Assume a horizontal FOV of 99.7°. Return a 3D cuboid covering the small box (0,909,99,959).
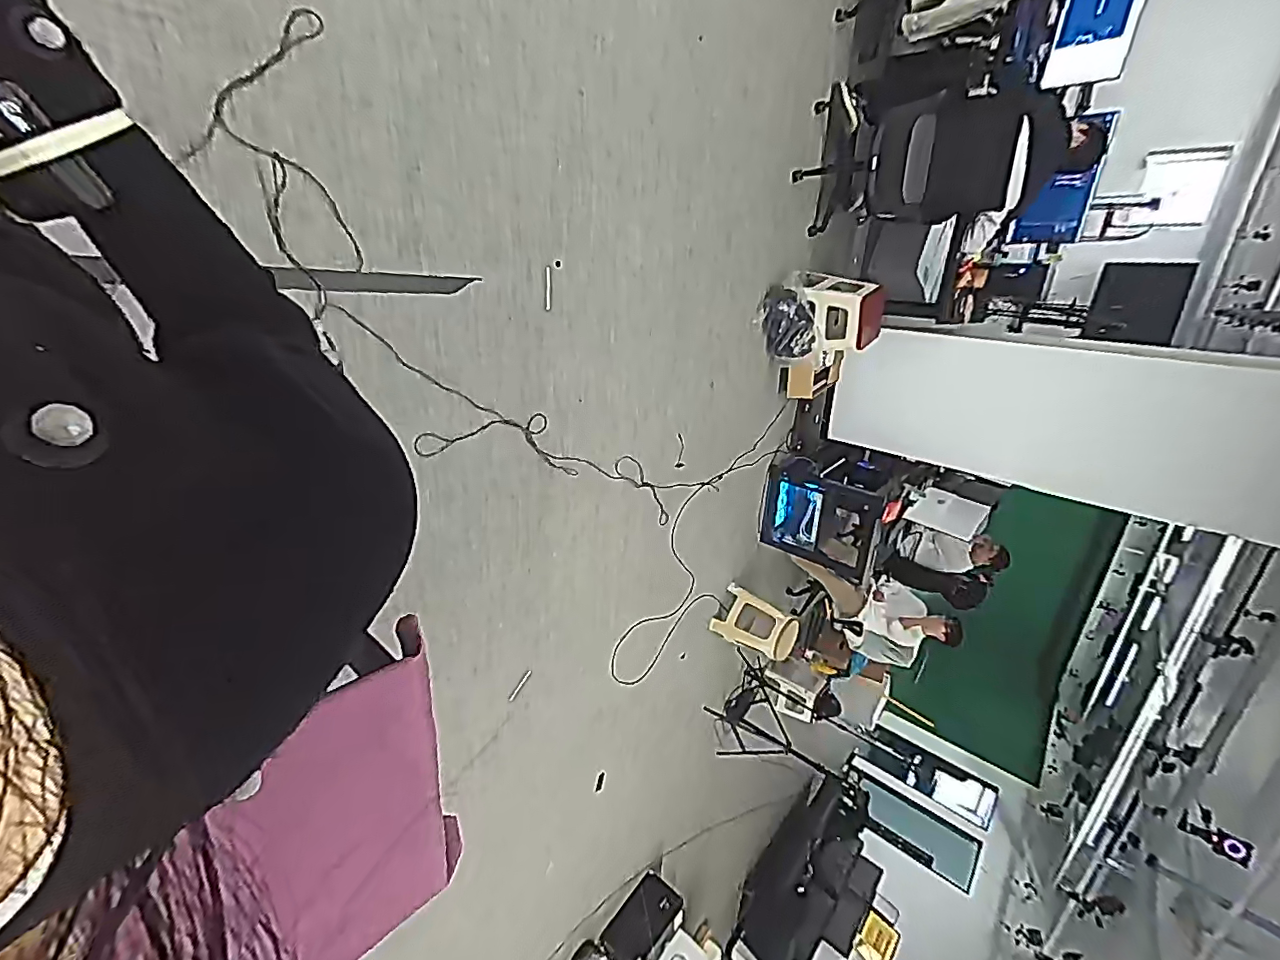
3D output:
[{"bbox_3d":[-0.705,0.643,0.598,0.168,0.176,0.179,-18,121,-48],"label":"small box"}]
